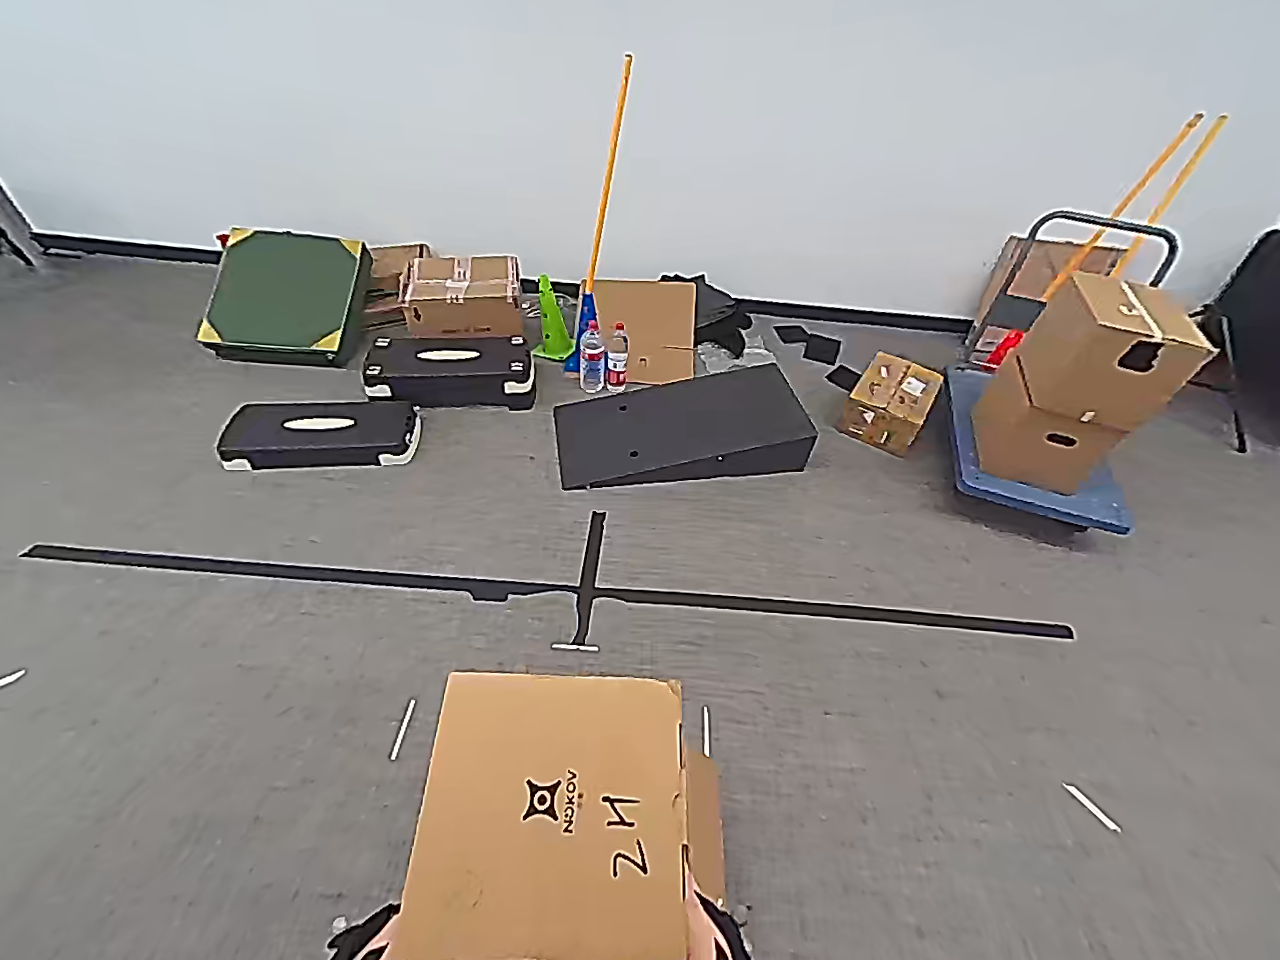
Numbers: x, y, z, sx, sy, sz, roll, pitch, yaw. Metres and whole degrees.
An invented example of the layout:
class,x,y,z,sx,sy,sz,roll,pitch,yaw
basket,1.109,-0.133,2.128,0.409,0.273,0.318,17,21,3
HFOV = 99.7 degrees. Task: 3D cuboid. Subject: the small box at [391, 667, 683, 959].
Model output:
class,x,y,z,sx,sy,sz,roll,pitch,yaw
small box,-0.063,0.256,0.427,0.179,0.176,0.168,3,57,-3
